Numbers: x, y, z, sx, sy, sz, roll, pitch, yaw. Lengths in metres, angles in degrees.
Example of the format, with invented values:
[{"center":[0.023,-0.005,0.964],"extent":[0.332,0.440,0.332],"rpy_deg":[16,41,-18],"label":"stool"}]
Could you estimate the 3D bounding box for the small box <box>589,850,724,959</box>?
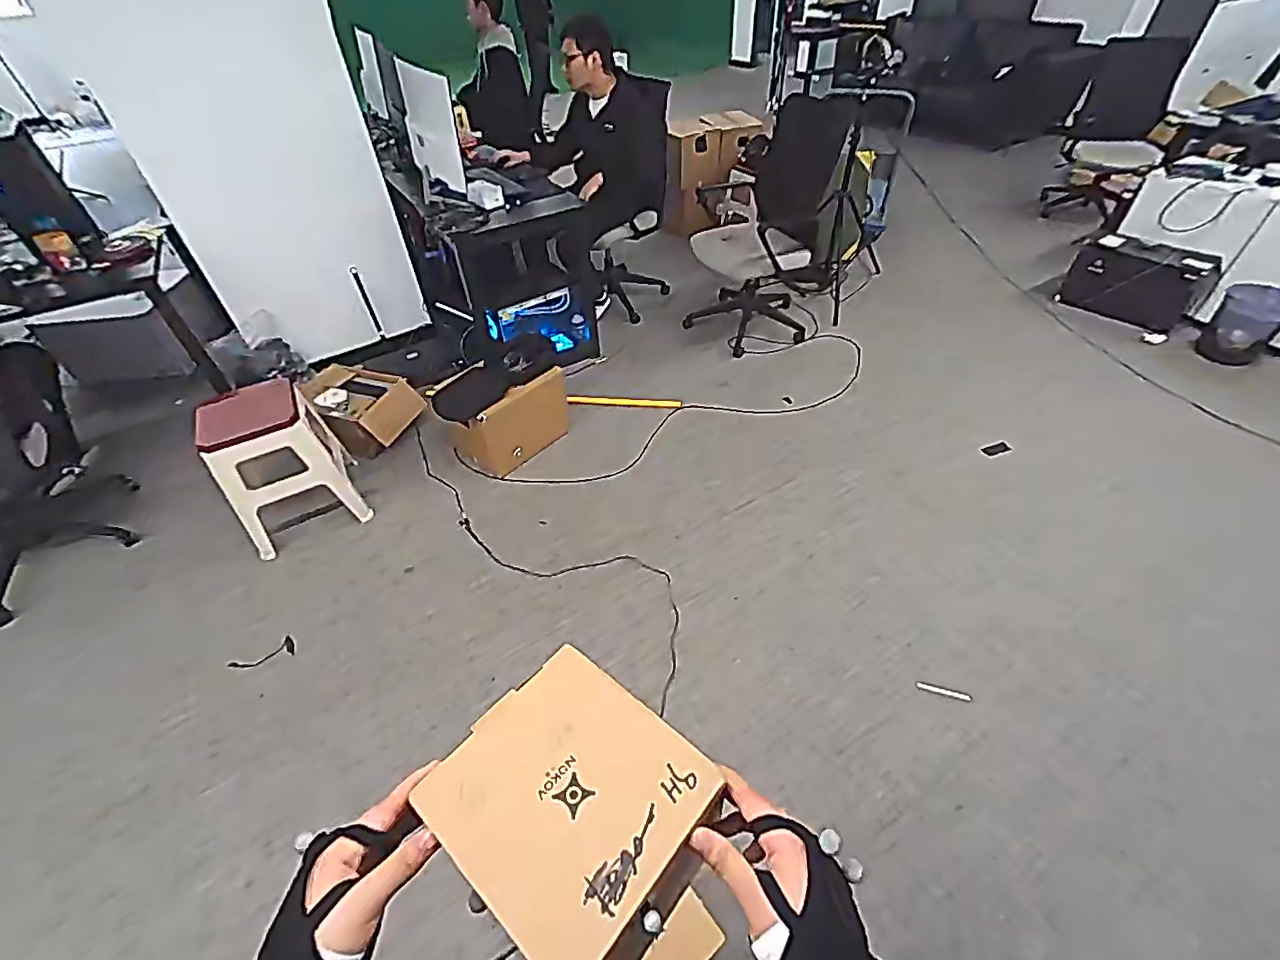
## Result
[{"center":[0.030,0.819,0.969],"extent":[0.179,0.176,0.168],"rpy_deg":[-30,52,-26],"label":"small box"}]
